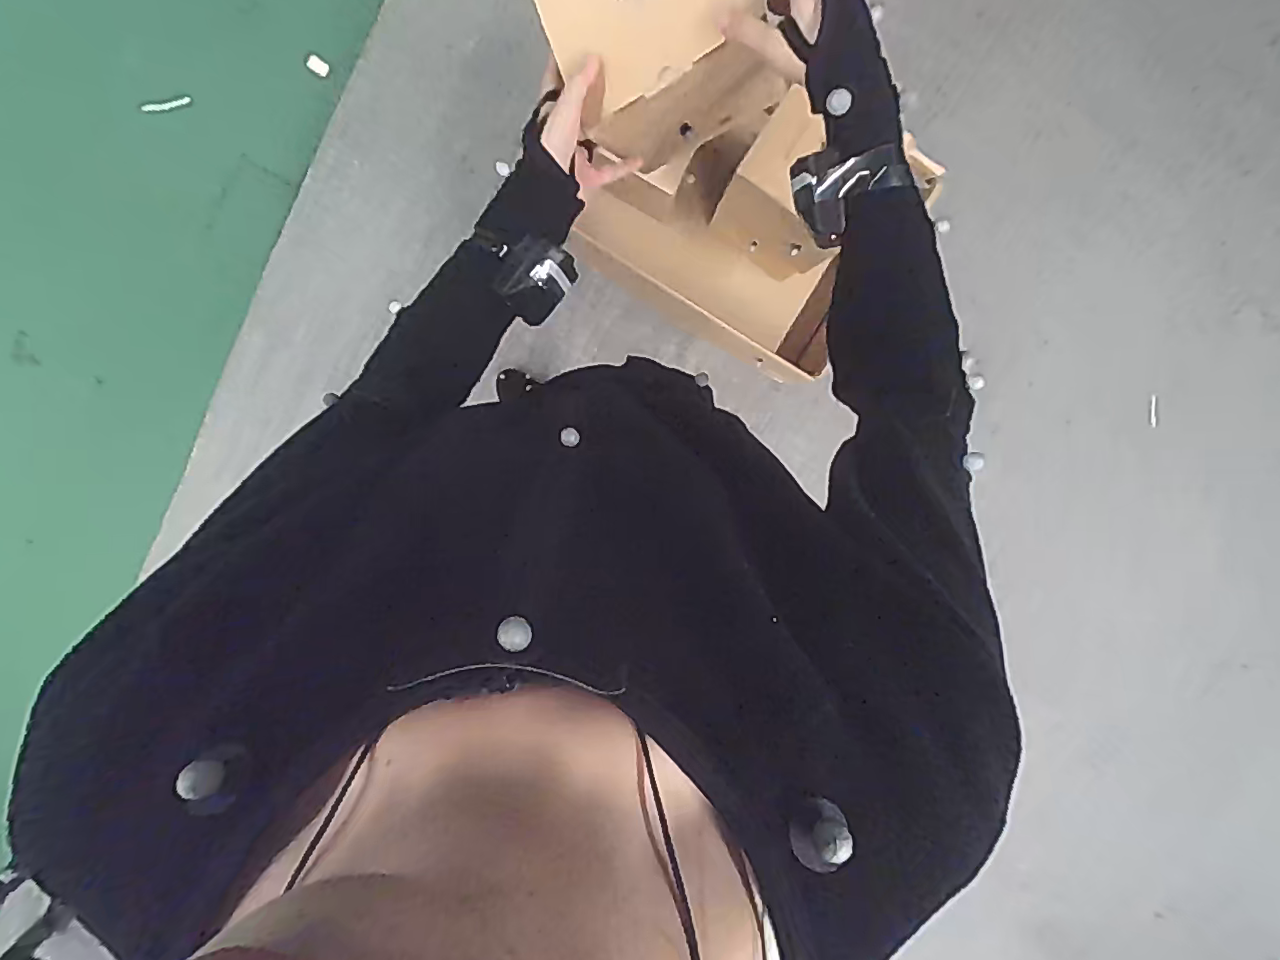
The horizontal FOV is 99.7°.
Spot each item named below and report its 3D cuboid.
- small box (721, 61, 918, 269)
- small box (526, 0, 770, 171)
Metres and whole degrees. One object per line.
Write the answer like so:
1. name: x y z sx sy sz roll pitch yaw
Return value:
1. small box: 0.239 -0.423 0.768 0.179 0.176 0.168 34 98 -6
2. small box: 0.010 -0.417 0.489 0.168 0.176 0.179 -16 102 23
